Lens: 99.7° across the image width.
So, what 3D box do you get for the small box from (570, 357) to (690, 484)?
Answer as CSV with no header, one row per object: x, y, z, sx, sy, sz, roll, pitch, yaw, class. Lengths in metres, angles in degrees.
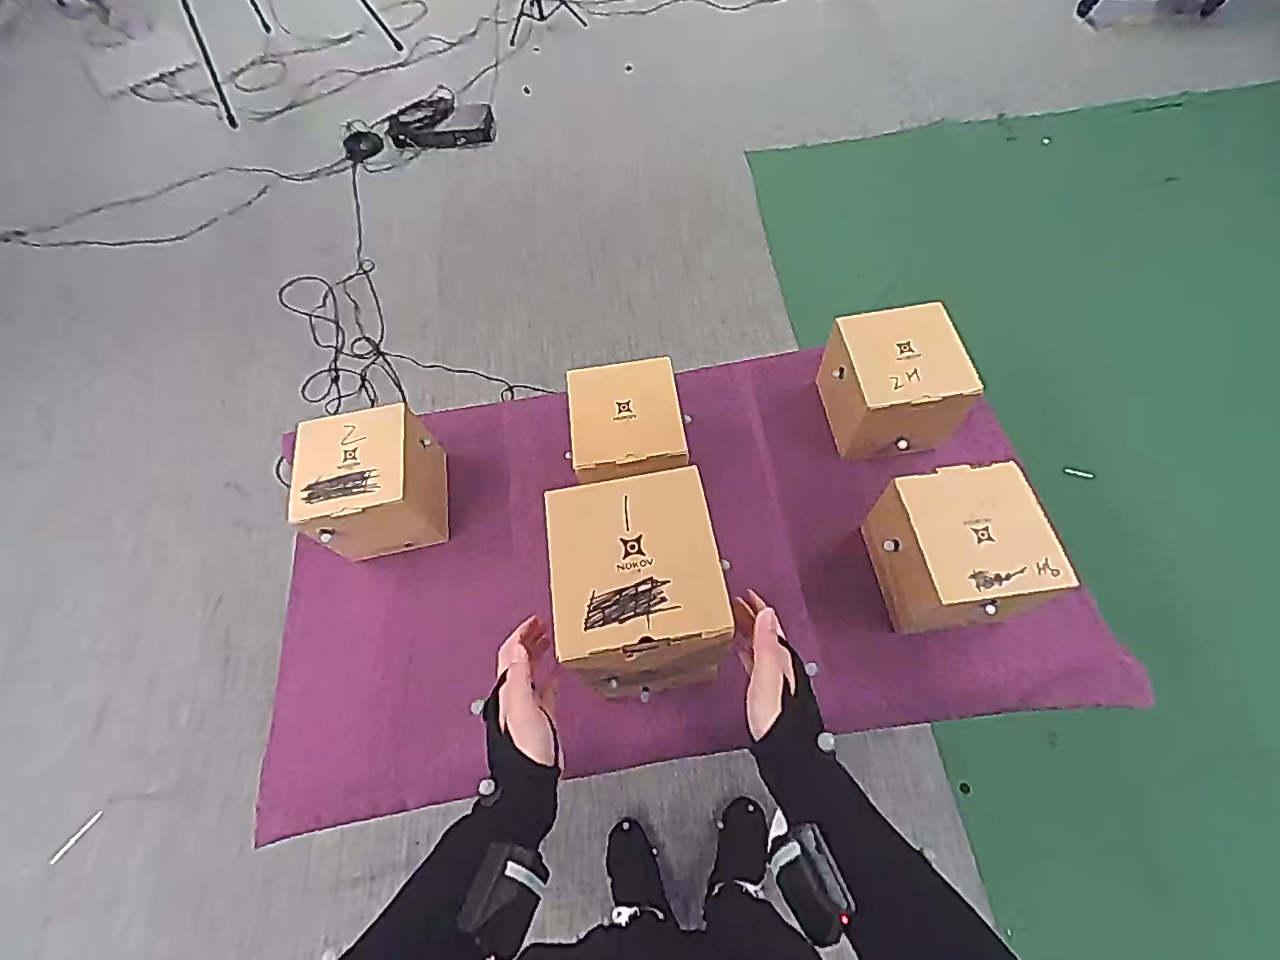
-0.017,-0.070,0.869,0.168,0.176,0.179,-8,65,0,small box

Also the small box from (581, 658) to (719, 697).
0.006,0.186,0.738,0.168,0.176,0.179,-9,63,0,small box

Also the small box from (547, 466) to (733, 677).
0.001,0.110,0.592,0.168,0.176,0.179,-9,61,0,small box

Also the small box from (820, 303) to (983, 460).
0.404,-0.154,0.873,0.168,0.176,0.179,-8,63,3,small box

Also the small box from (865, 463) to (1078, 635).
0.433,0.100,0.747,0.168,0.176,0.179,-8,61,1,small box
